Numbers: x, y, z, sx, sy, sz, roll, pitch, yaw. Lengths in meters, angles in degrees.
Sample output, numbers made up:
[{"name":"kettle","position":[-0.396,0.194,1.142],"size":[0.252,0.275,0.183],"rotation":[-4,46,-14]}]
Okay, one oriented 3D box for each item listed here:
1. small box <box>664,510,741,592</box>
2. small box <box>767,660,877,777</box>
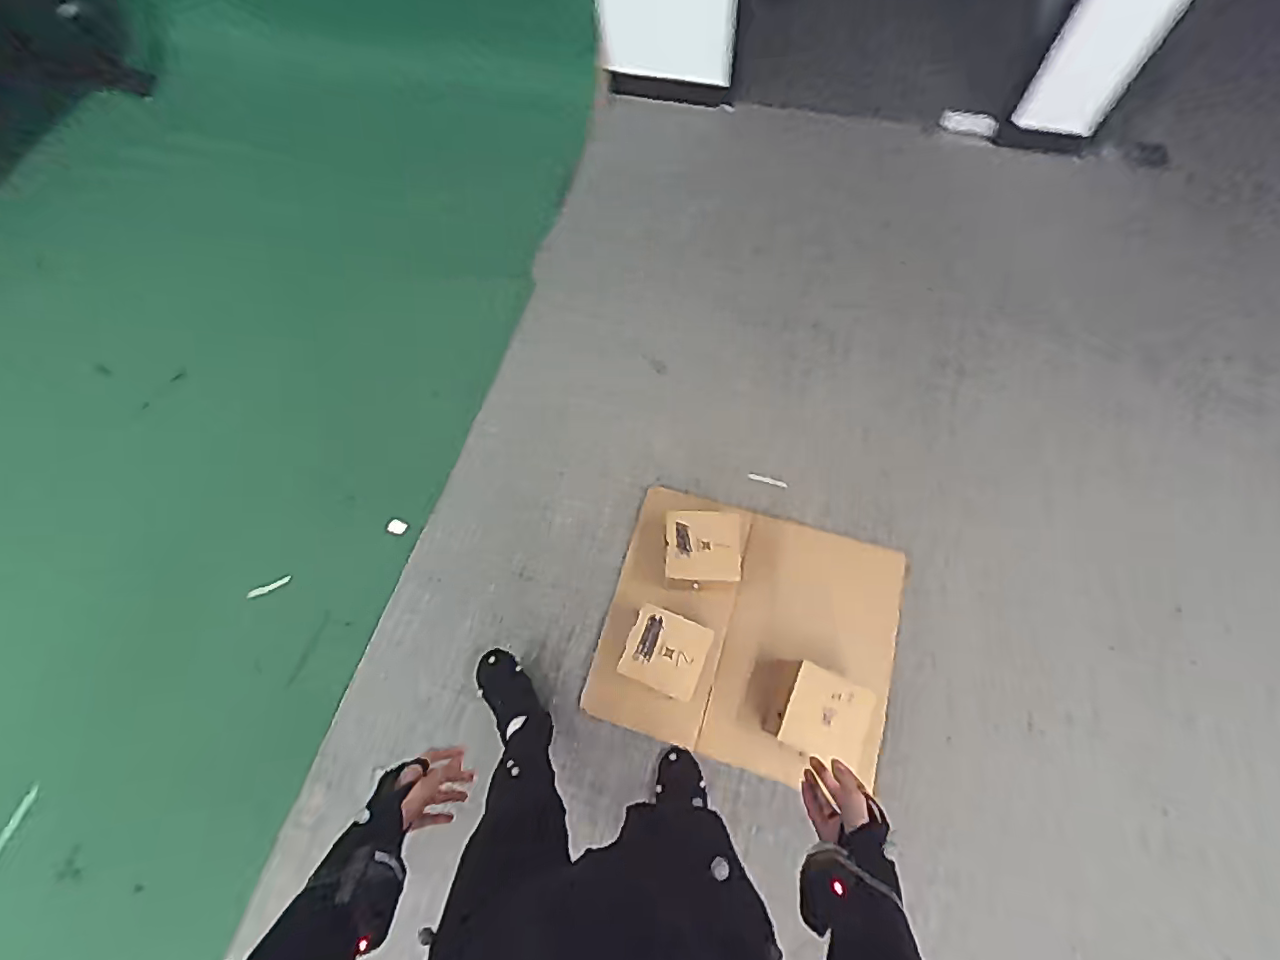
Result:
[{"name":"small box","position":[0.152,0.180,1.337],"size":[0.179,0.176,0.168],"rotation":[3,69,3]},{"name":"small box","position":[0.389,0.517,1.188],"size":[0.168,0.176,0.179],"rotation":[23,71,11]}]
